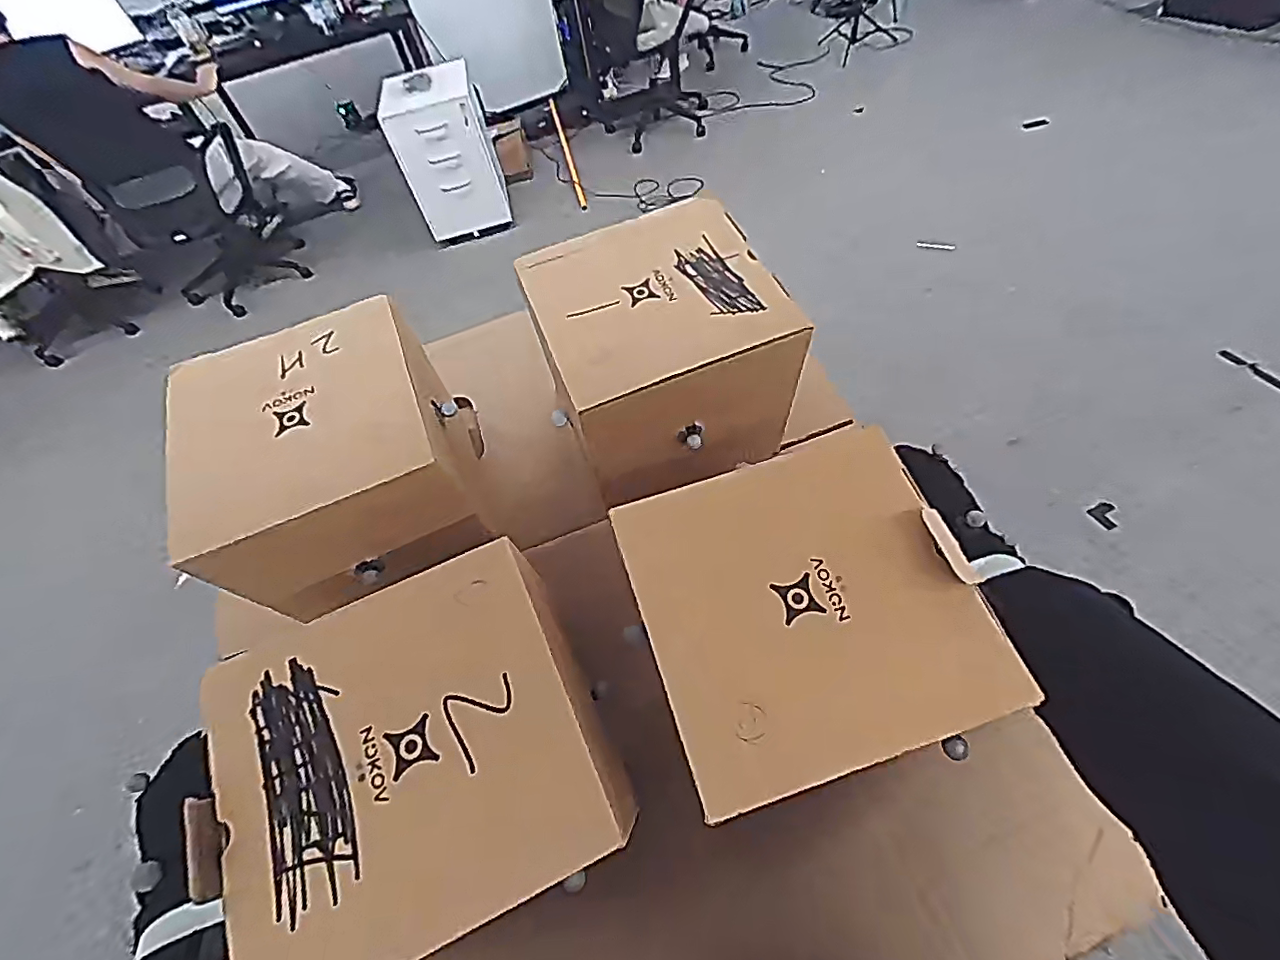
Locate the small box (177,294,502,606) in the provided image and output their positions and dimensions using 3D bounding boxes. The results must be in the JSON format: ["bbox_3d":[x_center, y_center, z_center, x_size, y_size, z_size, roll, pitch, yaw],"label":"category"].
[{"bbox_3d":[-0.231,-0.012,0.448,0.168,0.176,0.179,-22,61,-7],"label":"small box"}]

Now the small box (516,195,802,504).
[{"bbox_3d":[0.013,-0.104,0.474,0.179,0.176,0.168,-20,62,-5],"label":"small box"}]
